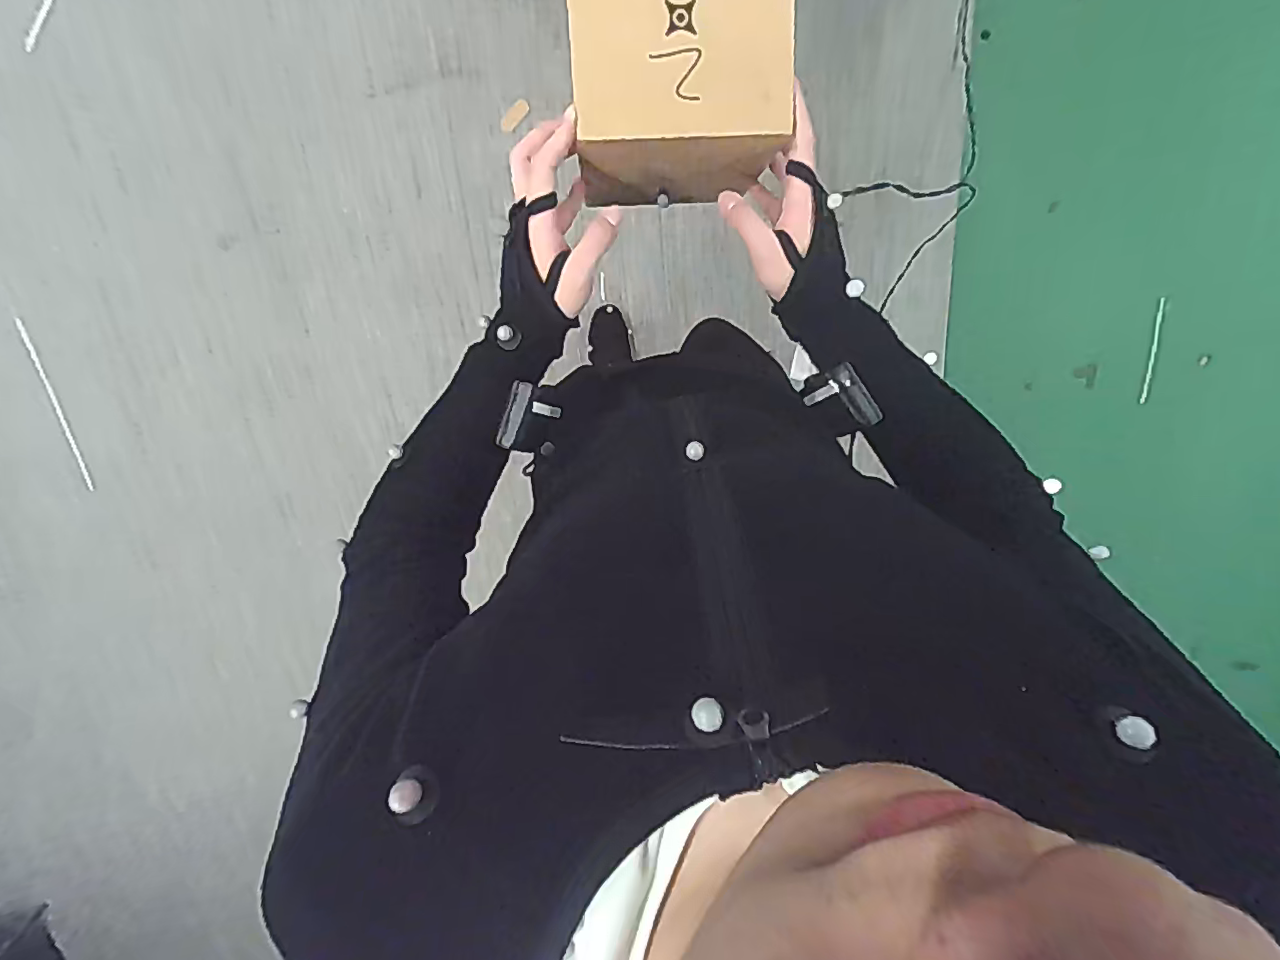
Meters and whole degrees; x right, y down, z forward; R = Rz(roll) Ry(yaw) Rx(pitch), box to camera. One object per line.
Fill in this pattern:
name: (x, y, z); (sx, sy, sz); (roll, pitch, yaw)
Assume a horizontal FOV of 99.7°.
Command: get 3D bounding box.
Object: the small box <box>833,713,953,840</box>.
small box: (0.606, 0.713, 1.314); (0.168, 0.176, 0.179); (-37, 104, 6)
